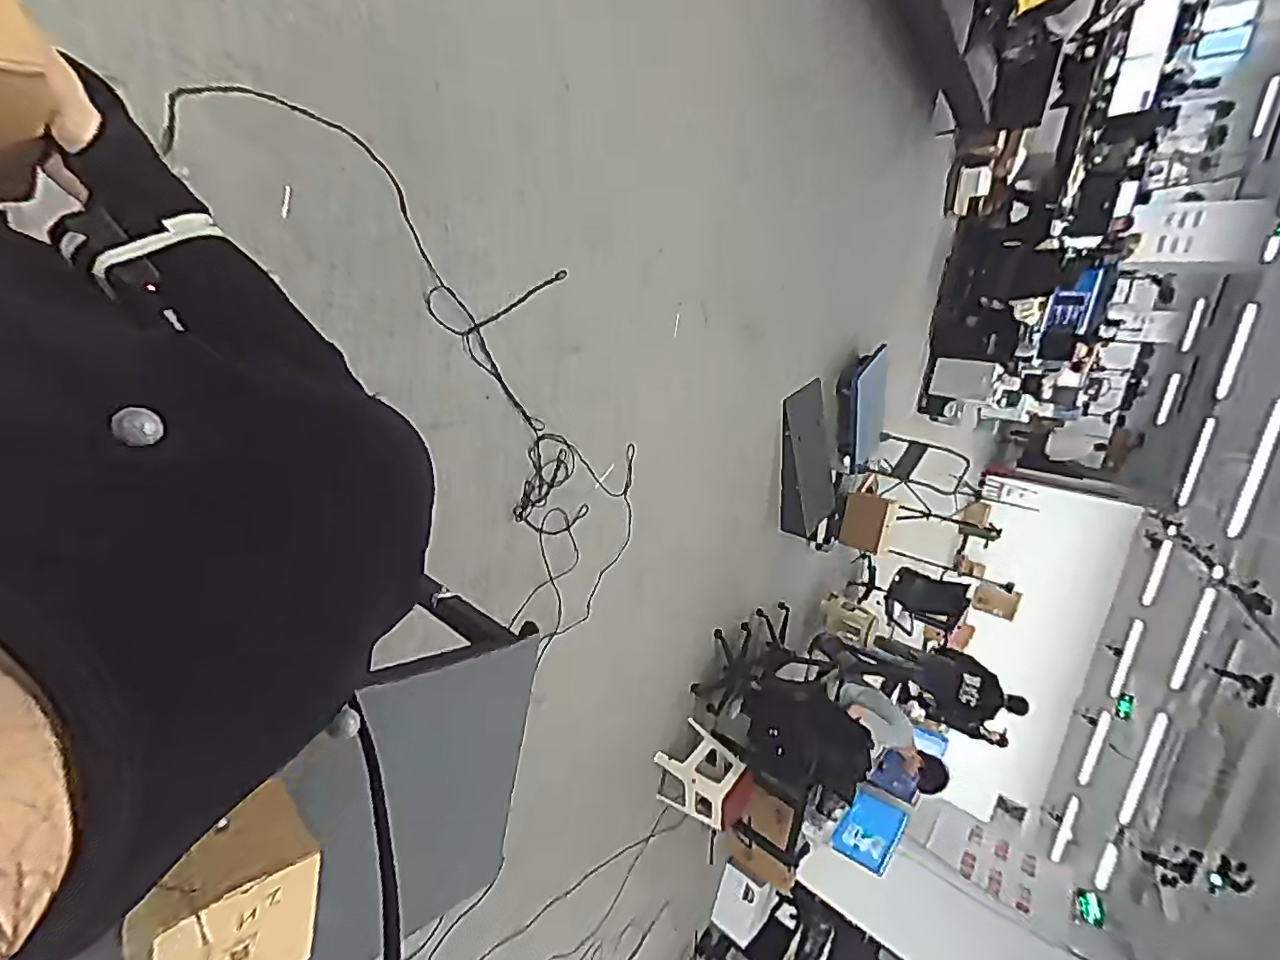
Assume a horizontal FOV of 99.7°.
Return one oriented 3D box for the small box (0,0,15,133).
[{"bbox_3d":[-0.468,-0.285,0.260,0.168,0.176,0.179,-34,110,-49],"label":"small box"}]
